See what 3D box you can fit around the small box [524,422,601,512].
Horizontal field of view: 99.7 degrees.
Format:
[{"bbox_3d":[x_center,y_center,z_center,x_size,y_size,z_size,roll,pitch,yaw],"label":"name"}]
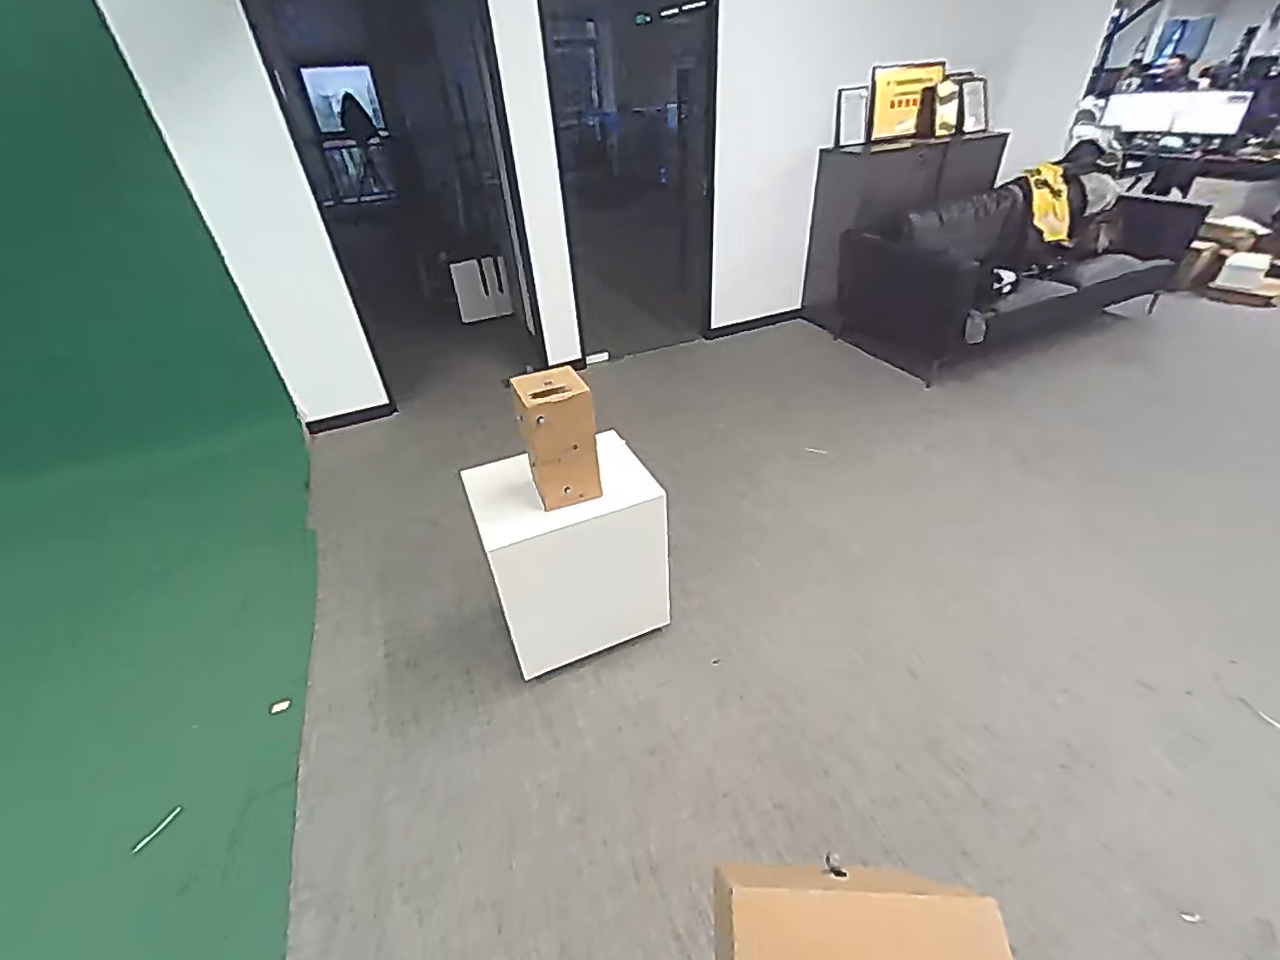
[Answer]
[{"bbox_3d":[-0.216,-0.038,1.501,0.168,0.176,0.179,-15,37,-16],"label":"small box"}]
